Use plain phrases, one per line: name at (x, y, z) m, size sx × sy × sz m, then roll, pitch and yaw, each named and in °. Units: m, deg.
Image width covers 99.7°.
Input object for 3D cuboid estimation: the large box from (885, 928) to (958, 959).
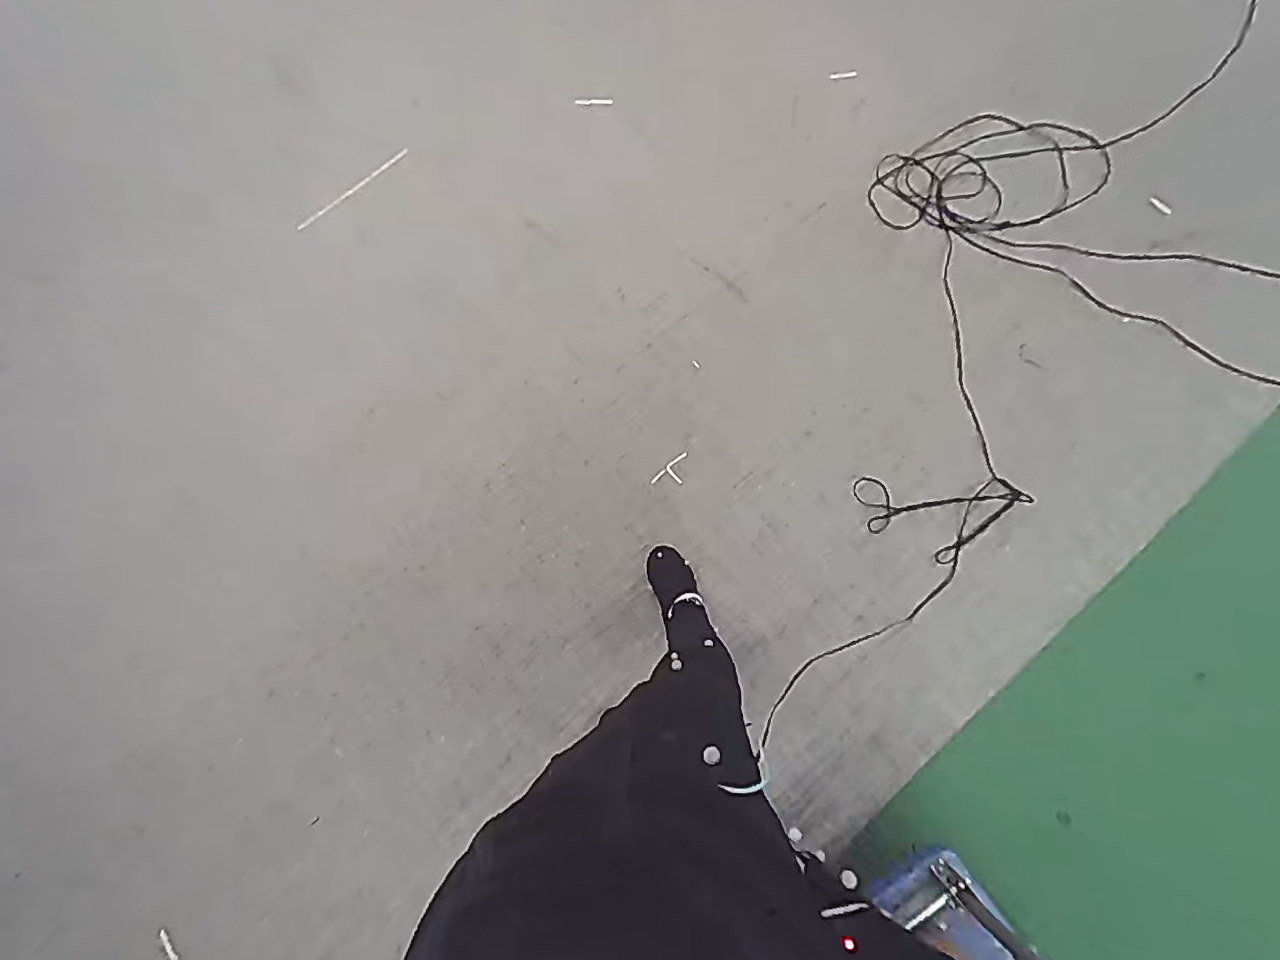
large box at (0.560, 1.102, 0.892) m, size 0.320 × 0.320 × 0.408 m, roll -32°, pitch 76°, yaw -5°
